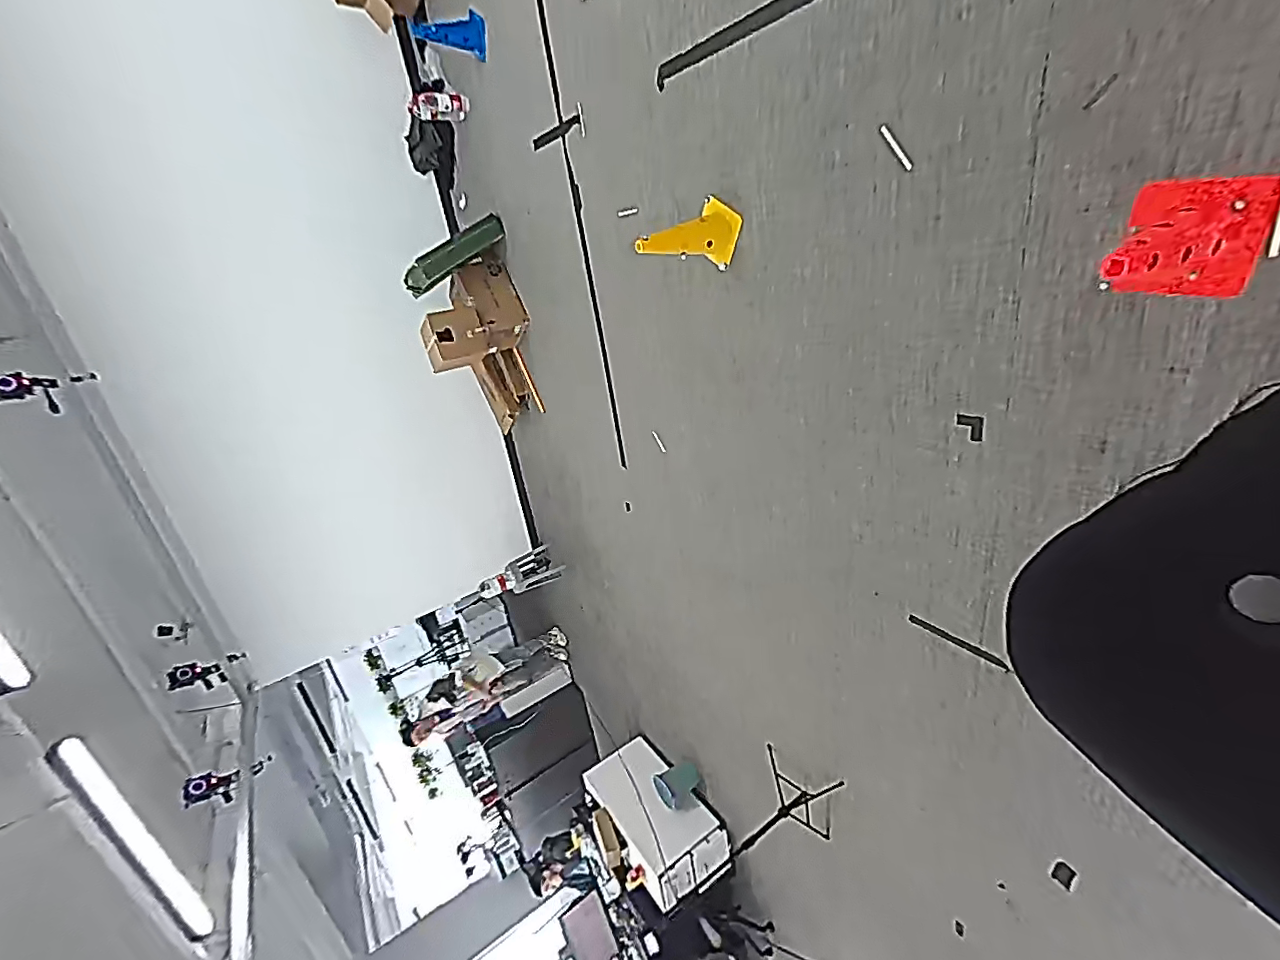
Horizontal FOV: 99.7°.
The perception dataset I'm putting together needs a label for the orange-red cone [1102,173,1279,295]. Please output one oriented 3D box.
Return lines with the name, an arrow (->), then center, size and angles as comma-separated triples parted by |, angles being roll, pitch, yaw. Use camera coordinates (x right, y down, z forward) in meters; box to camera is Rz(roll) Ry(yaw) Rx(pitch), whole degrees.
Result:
orange-red cone -> 0.883, -0.398, 0.921 | 0.199, 0.360, 0.198 | 34, 137, 49
